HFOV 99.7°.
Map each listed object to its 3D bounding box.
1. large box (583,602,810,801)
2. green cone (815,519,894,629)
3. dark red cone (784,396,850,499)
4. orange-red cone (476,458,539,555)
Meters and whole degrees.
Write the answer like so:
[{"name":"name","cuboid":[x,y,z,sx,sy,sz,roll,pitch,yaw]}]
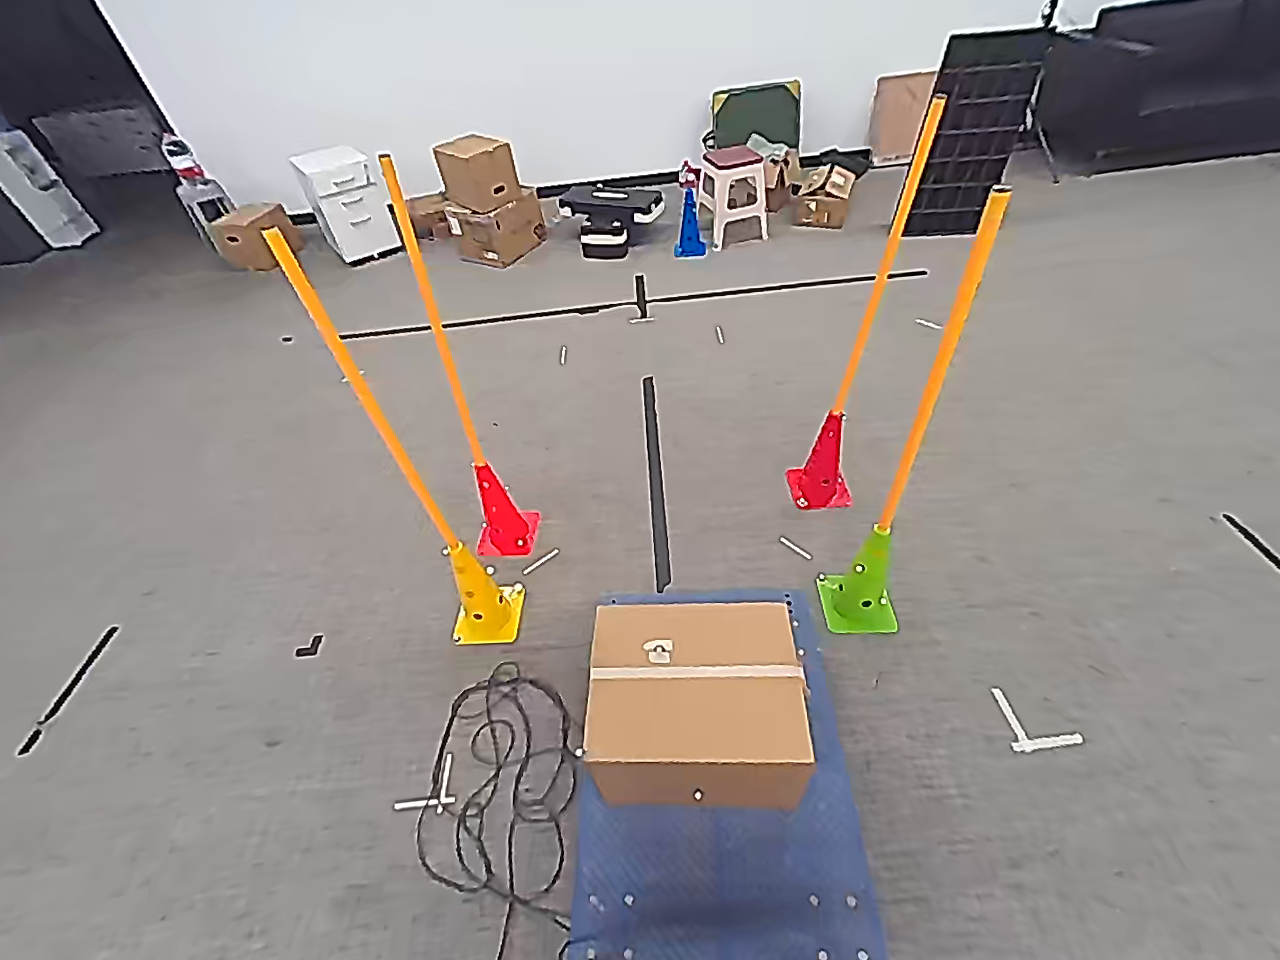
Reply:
[{"name":"large box","cuboid":[0.115,0.479,1.152,0.408,0.320,0.320,-3,46,5]},{"name":"green cone","cuboid":[0.637,0.243,1.521,0.202,0.368,0.200,-2,46,3]},{"name":"dark red cone","cuboid":[0.631,-0.118,1.846,0.201,0.394,0.202,-4,46,0]},{"name":"orange-red cone","cuboid":[-0.488,0.067,1.827,0.198,0.360,0.199,1,45,6]}]
